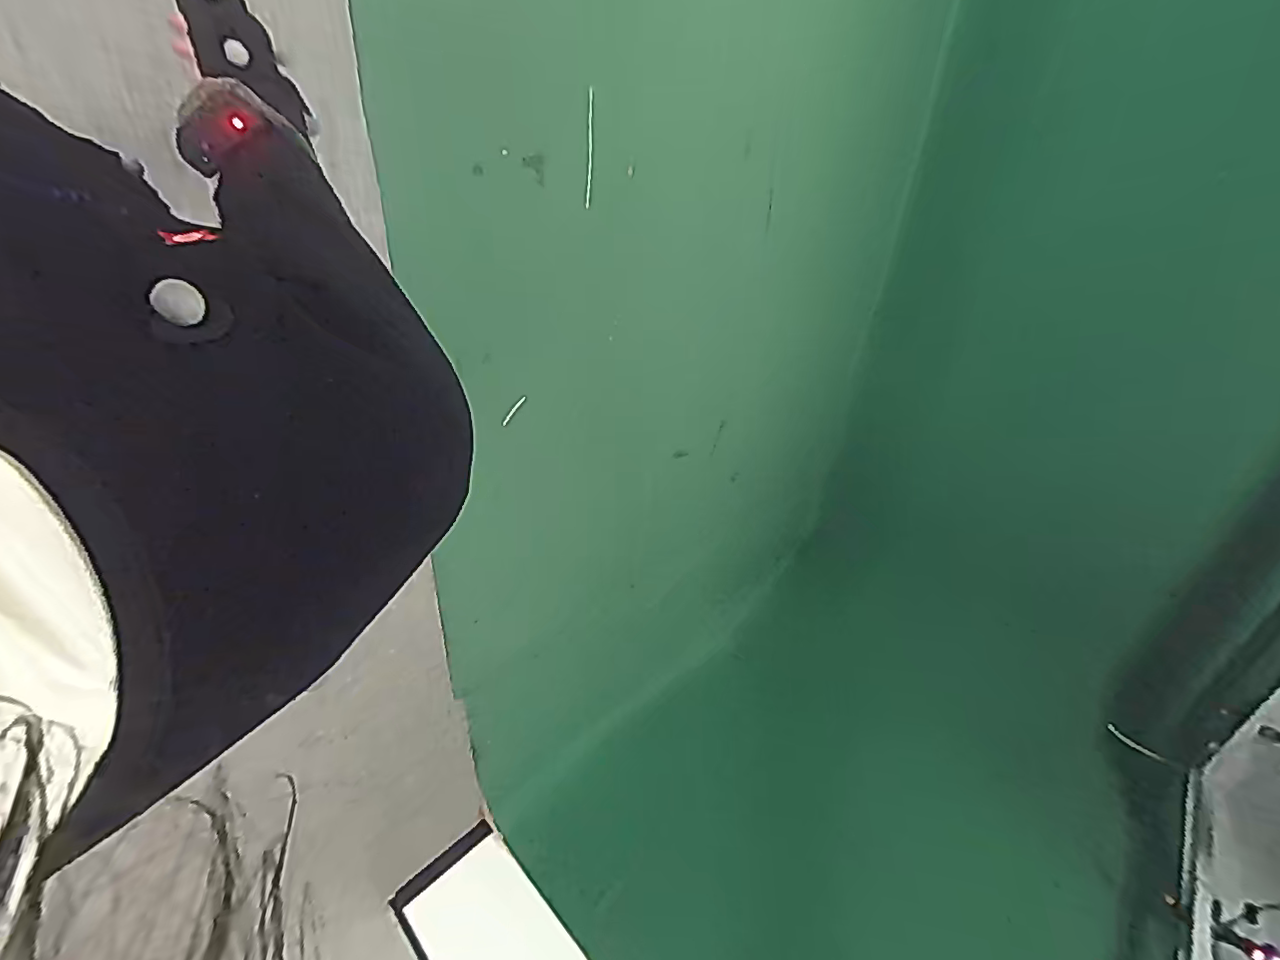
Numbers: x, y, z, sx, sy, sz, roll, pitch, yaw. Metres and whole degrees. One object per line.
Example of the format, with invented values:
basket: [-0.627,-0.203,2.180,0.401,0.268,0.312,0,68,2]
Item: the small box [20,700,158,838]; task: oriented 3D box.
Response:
small box: [-1.250,0.647,1.227,0.179,0.176,0.168,-26,132,-41]
